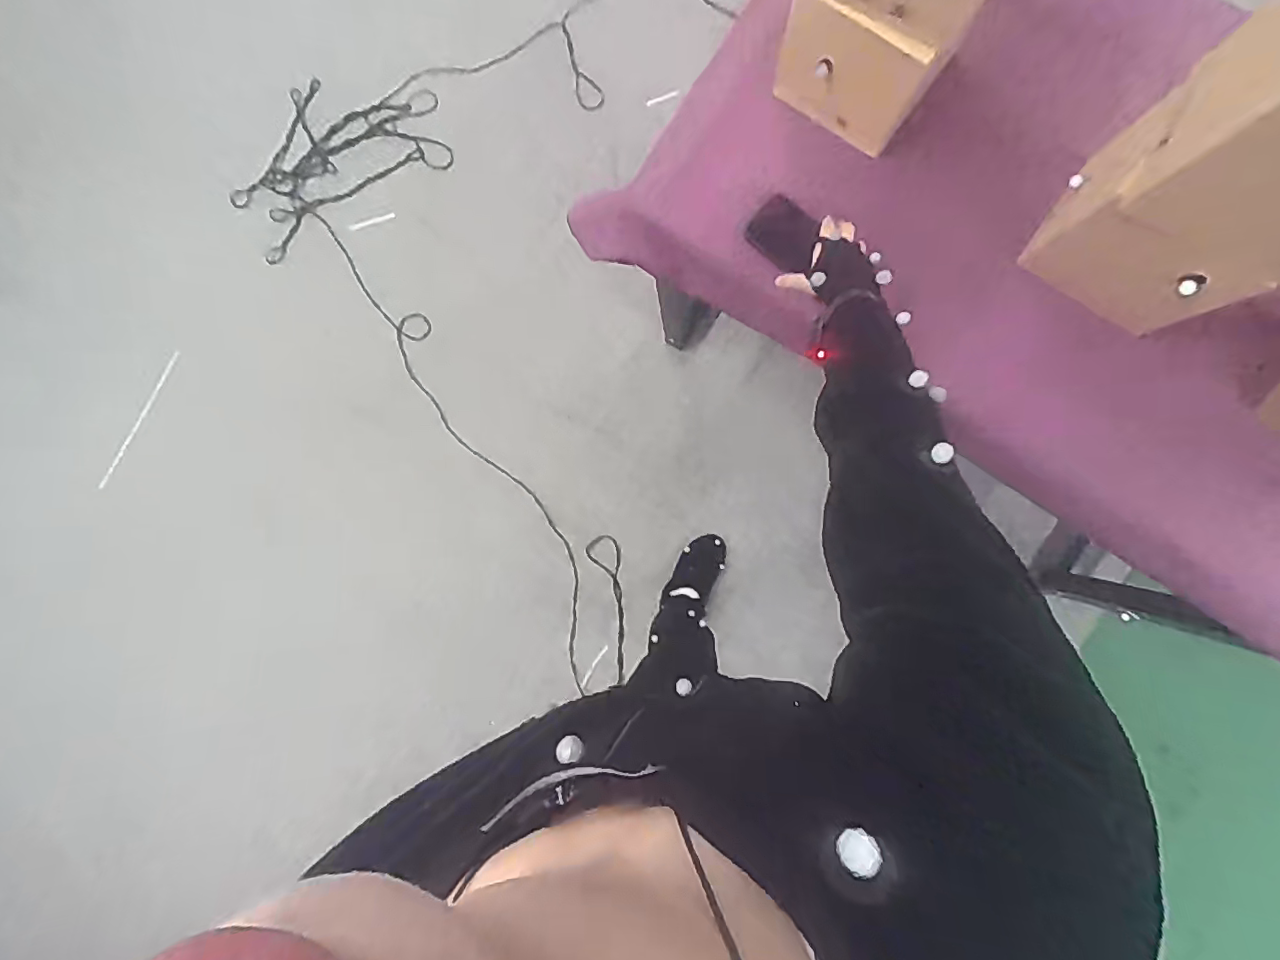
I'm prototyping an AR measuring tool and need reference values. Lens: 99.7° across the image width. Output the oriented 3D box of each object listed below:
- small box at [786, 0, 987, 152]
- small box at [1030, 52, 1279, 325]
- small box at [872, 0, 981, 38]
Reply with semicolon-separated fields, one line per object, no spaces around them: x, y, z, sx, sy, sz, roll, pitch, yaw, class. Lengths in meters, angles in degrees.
0.288;-0.535;0.629;0.168;0.176;0.179;36;92;6;small box
0.592;-0.293;0.590;0.179;0.176;0.168;36;92;6;small box
0.277;-0.546;0.465;0.168;0.176;0.179;31;92;5;small box
